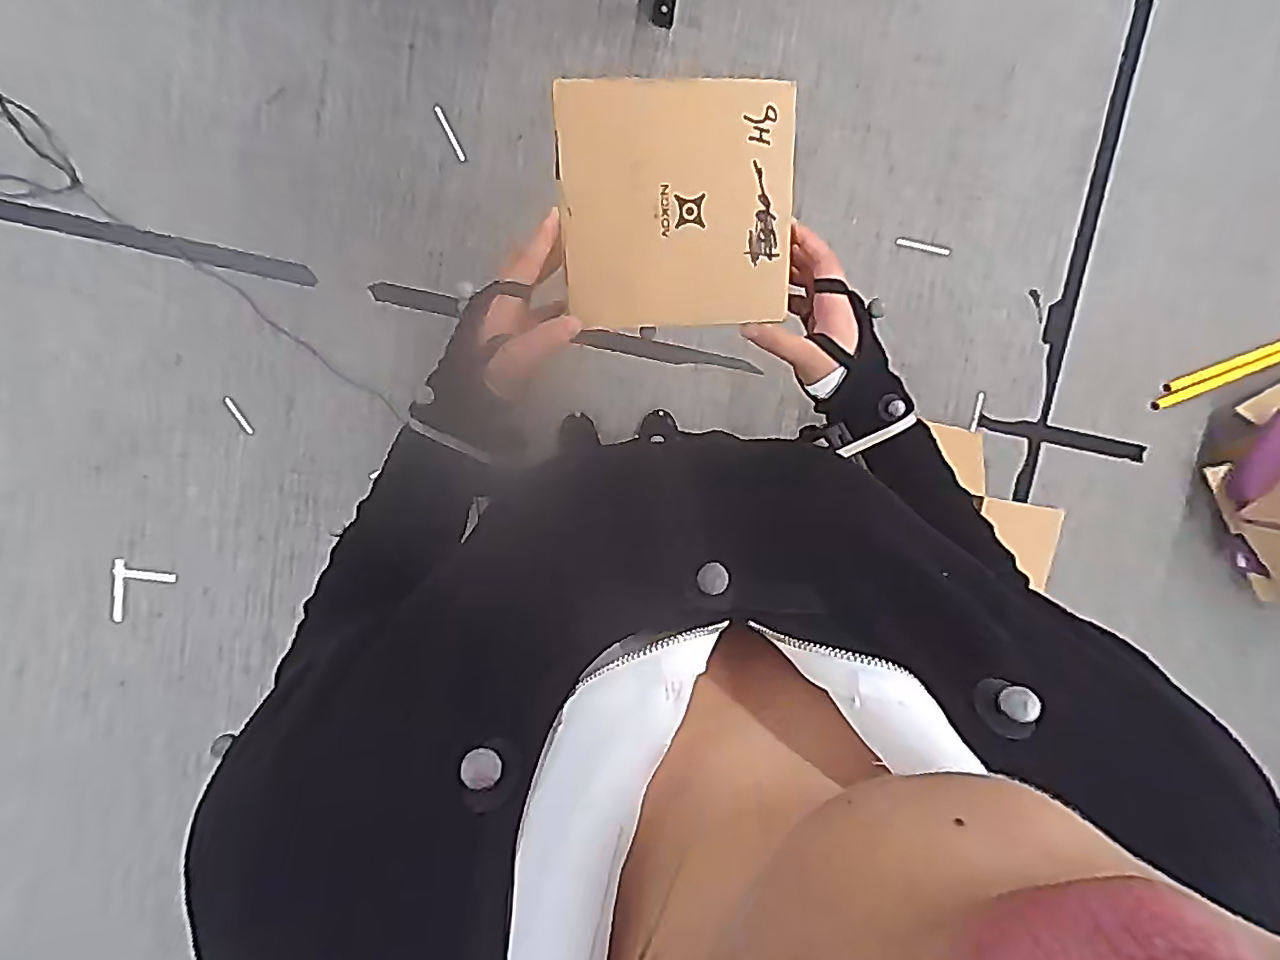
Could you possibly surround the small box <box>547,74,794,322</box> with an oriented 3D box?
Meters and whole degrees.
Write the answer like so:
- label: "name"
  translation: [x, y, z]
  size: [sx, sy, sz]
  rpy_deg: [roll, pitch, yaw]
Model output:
- label: "small box"
  translation: [0.017, -0.226, 0.475]
  size: [0.179, 0.176, 0.168]
  rpy_deg: [-4, 108, -6]
